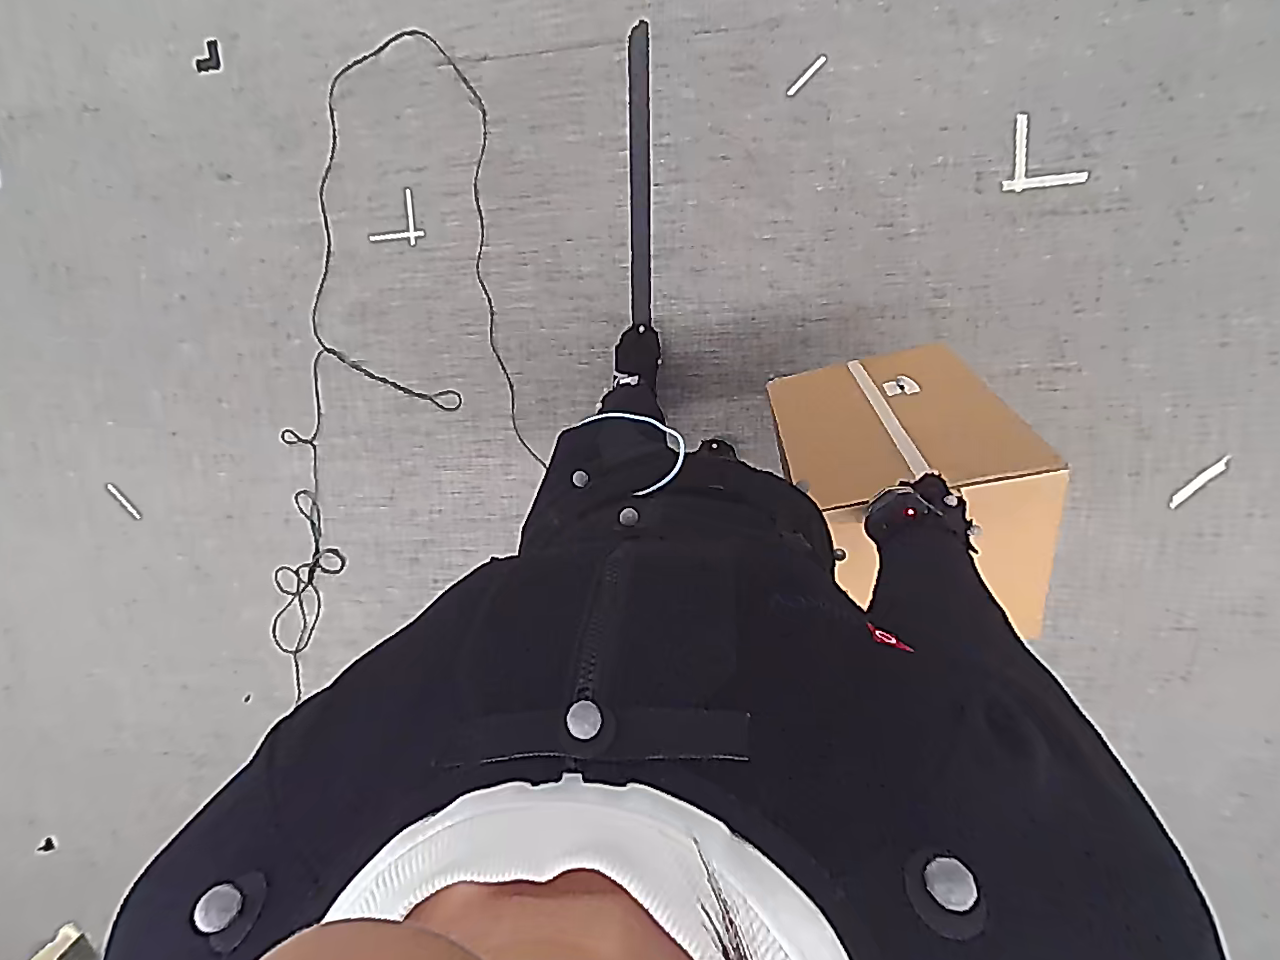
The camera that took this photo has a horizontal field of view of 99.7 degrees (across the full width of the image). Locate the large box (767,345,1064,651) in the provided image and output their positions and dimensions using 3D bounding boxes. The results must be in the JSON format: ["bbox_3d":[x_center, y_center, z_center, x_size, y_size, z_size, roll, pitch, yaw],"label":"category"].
[{"bbox_3d":[0.422,0.018,0.920,0.320,0.408,0.320,-11,122,12],"label":"large box"}]
